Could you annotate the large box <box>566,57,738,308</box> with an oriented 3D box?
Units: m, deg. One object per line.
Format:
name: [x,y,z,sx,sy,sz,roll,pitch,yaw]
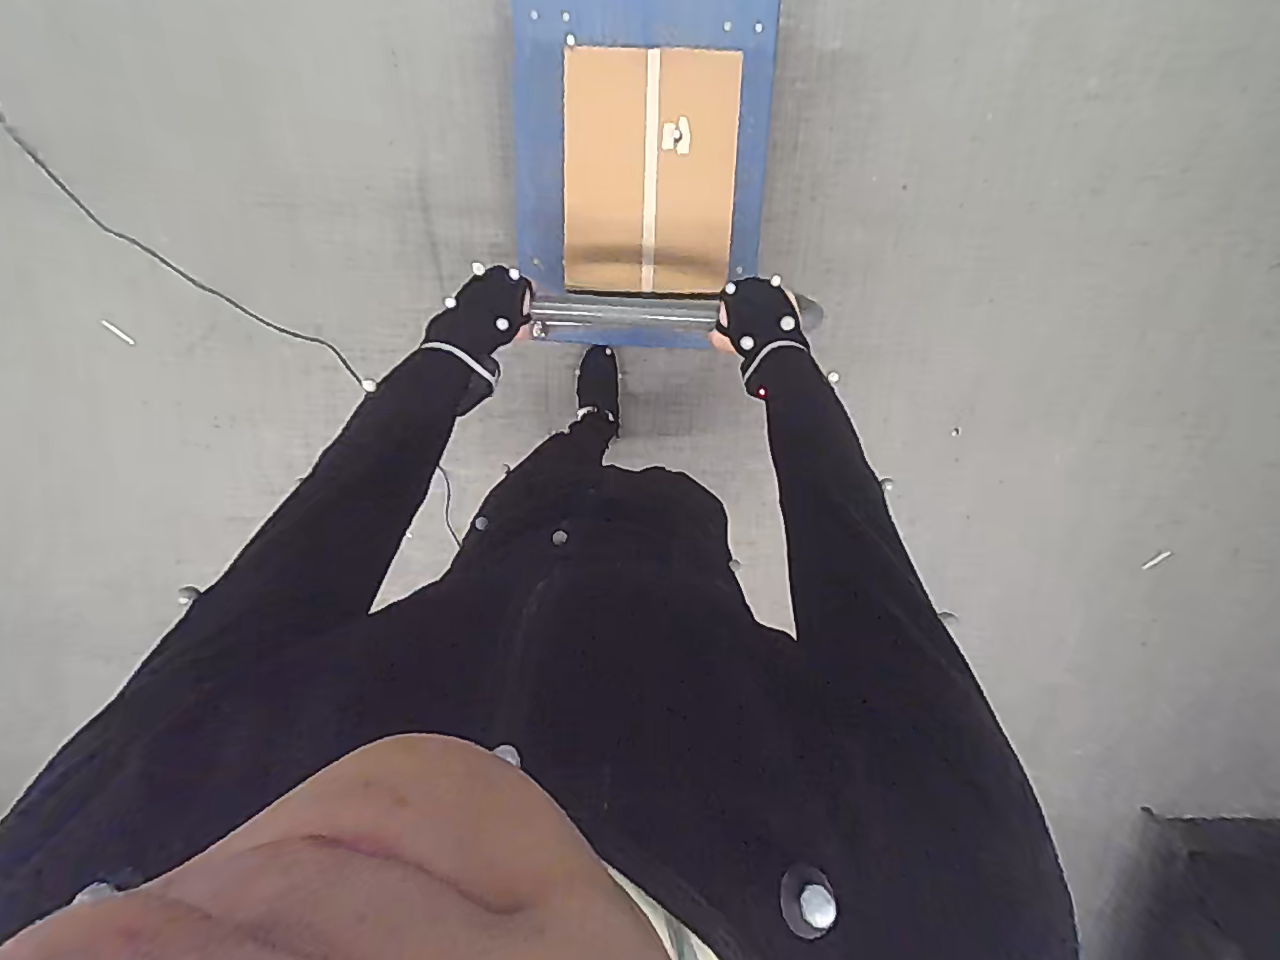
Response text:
large box: [0.018,-0.587,1.149,0.320,0.320,0.408,2,104,-1]
